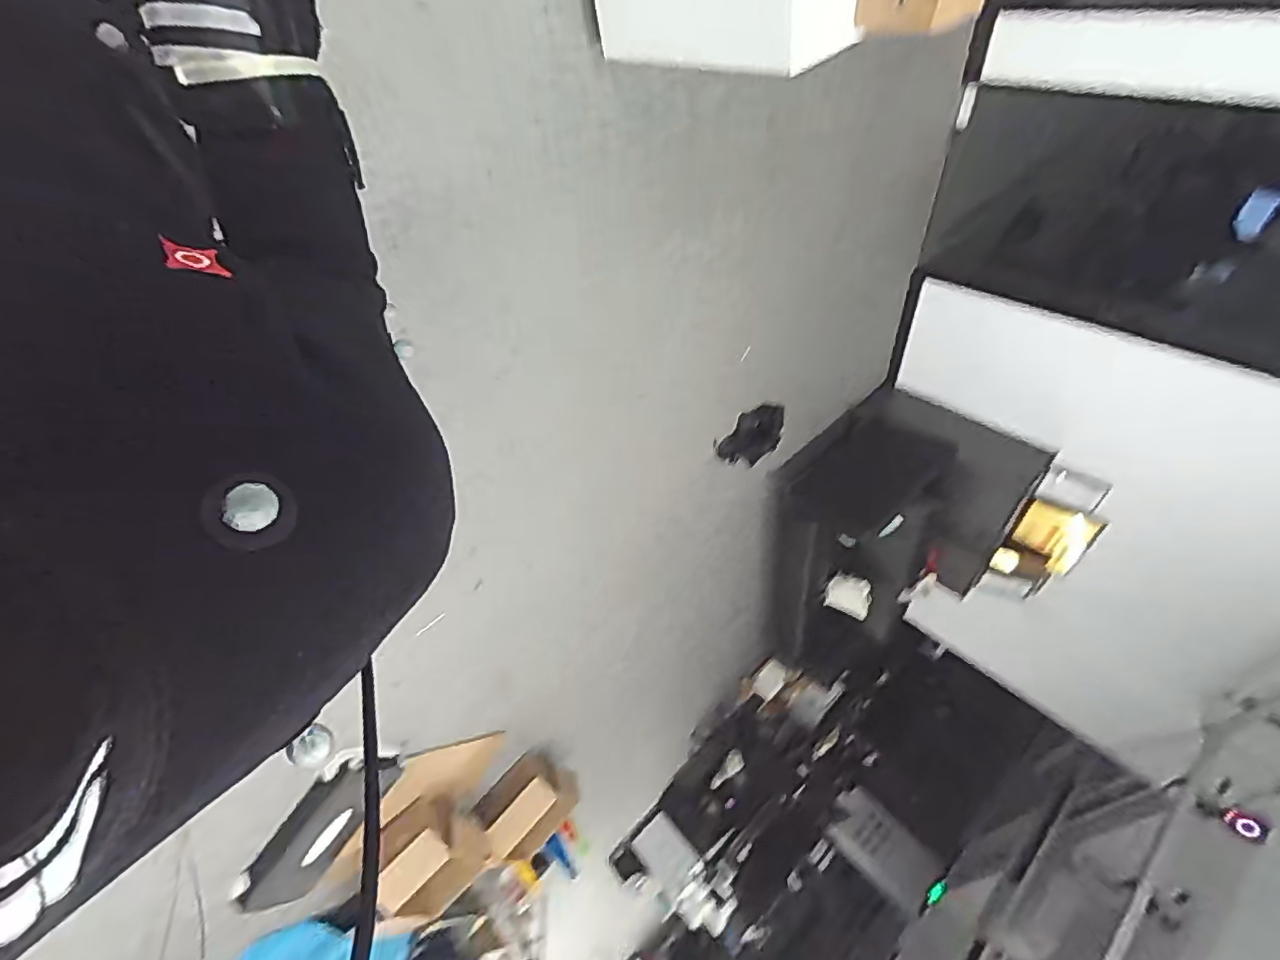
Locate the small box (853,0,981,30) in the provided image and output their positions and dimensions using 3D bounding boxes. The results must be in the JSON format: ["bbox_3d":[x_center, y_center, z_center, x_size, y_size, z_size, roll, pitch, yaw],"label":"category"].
[{"bbox_3d":[0.515,-0.941,0.981,0.179,0.176,0.168,-38,143,-22],"label":"small box"}]
